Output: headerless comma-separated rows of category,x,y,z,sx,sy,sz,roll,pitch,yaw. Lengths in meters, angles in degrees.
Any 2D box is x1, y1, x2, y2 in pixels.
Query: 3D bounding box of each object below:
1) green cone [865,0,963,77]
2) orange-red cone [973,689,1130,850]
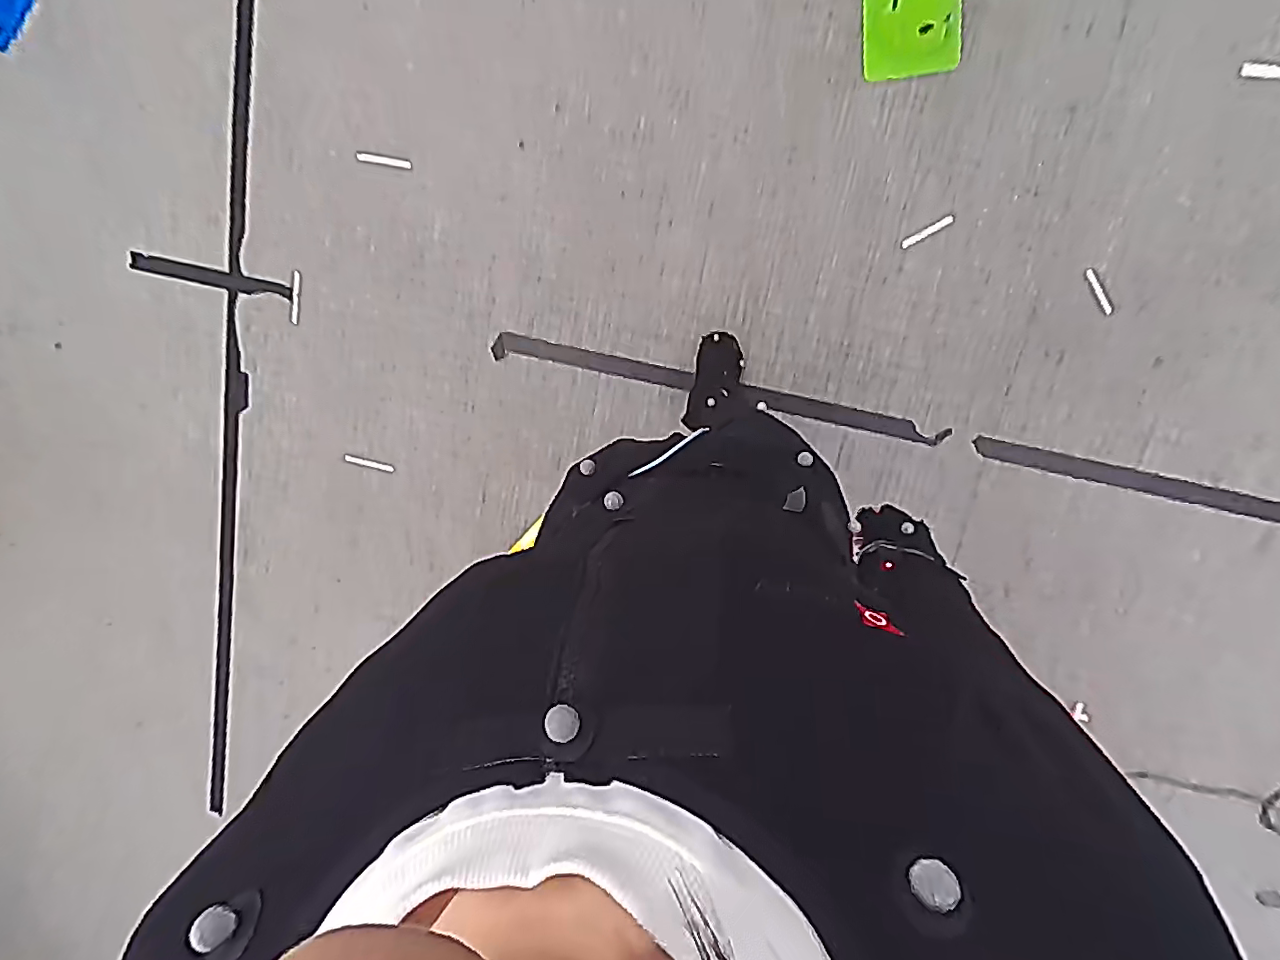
green cone,0.568,-0.960,0.999,0.202,0.368,0.200,-3,99,8
orange-red cone,0.950,0.671,1.210,0.199,0.360,0.198,21,101,6
